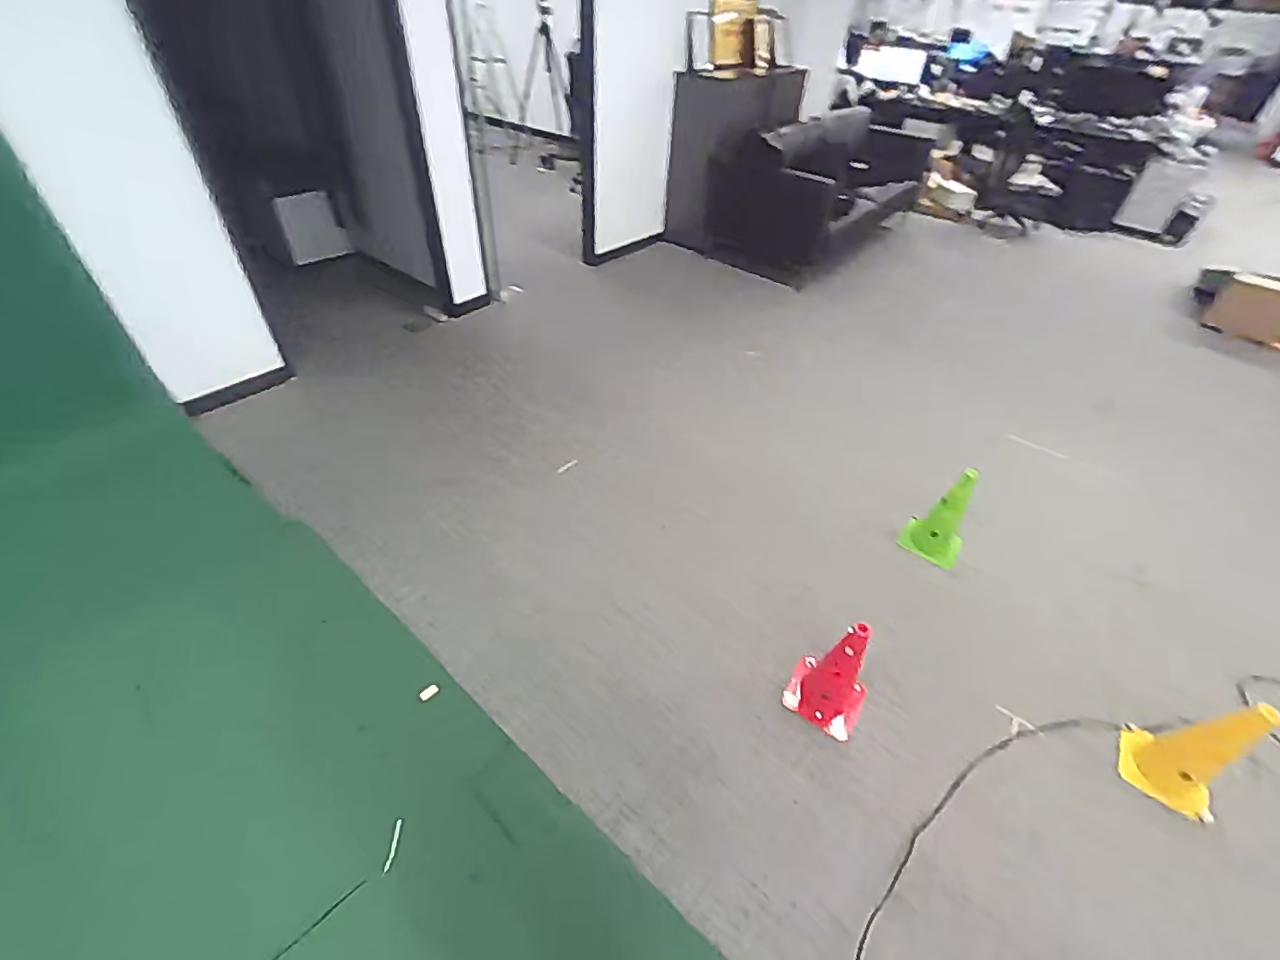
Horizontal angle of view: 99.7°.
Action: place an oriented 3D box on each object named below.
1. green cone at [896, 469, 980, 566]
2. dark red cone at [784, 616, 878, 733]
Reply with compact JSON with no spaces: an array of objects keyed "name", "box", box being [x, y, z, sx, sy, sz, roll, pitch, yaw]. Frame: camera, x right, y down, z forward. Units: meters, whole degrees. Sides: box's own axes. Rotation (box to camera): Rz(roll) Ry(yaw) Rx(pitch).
[{"name":"green cone","box":[1.114,0.103,1.954,0.202,0.368,0.200,31,49,25]},{"name":"dark red cone","box":[0.549,0.487,1.453,0.202,0.394,0.201,26,48,23]}]
